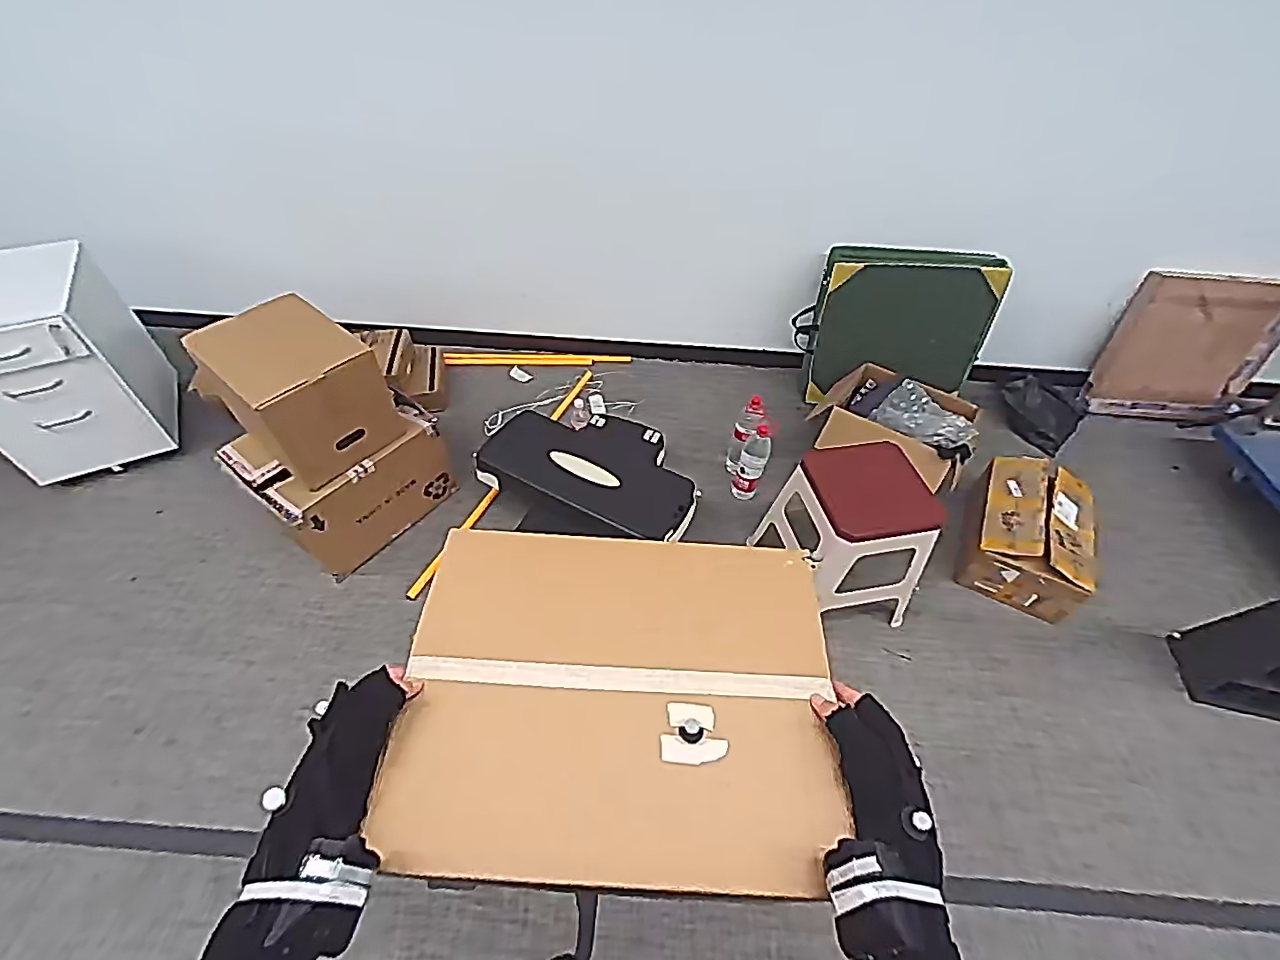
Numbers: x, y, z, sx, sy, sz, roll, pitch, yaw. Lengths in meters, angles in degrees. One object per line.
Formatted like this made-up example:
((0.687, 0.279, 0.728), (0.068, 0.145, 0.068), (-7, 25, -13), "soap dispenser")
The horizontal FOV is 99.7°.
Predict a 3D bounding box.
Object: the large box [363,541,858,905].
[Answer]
((-0.025, 0.292, 0.634), (0.408, 0.320, 0.320), (4, 51, 0), "large box")
